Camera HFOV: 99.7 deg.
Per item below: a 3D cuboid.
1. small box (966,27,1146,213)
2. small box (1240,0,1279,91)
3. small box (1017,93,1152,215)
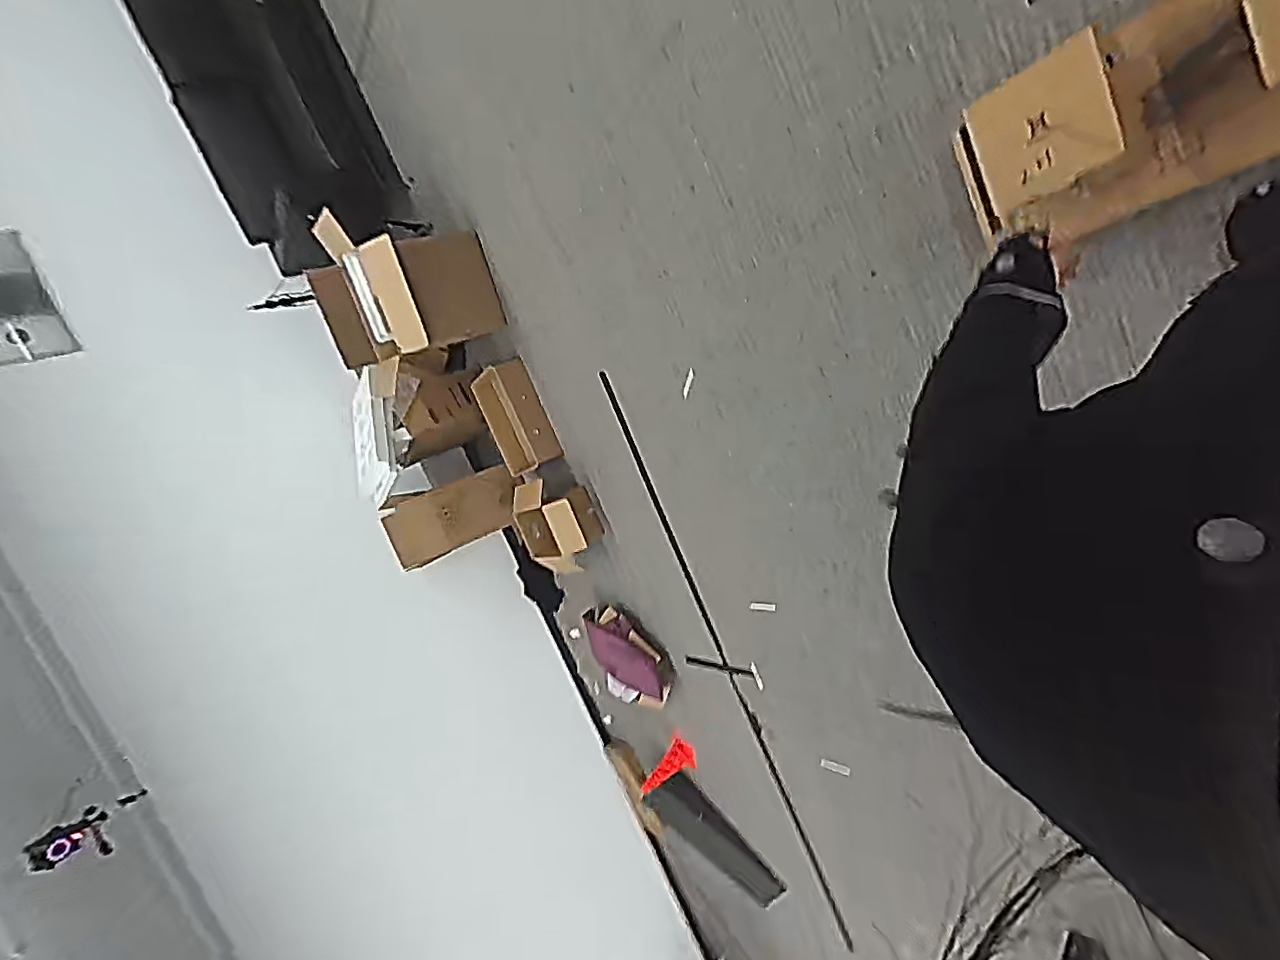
[{"bbox_3d":[0.646,-0.545,0.840,0.168,0.176,0.179,-13,101,54],"label":"small box"},{"bbox_3d":[0.924,-0.651,0.704,0.168,0.176,0.179,-12,103,57],"label":"small box"},{"bbox_3d":[0.759,-0.597,0.951,0.168,0.176,0.179,-16,100,54],"label":"small box"}]
